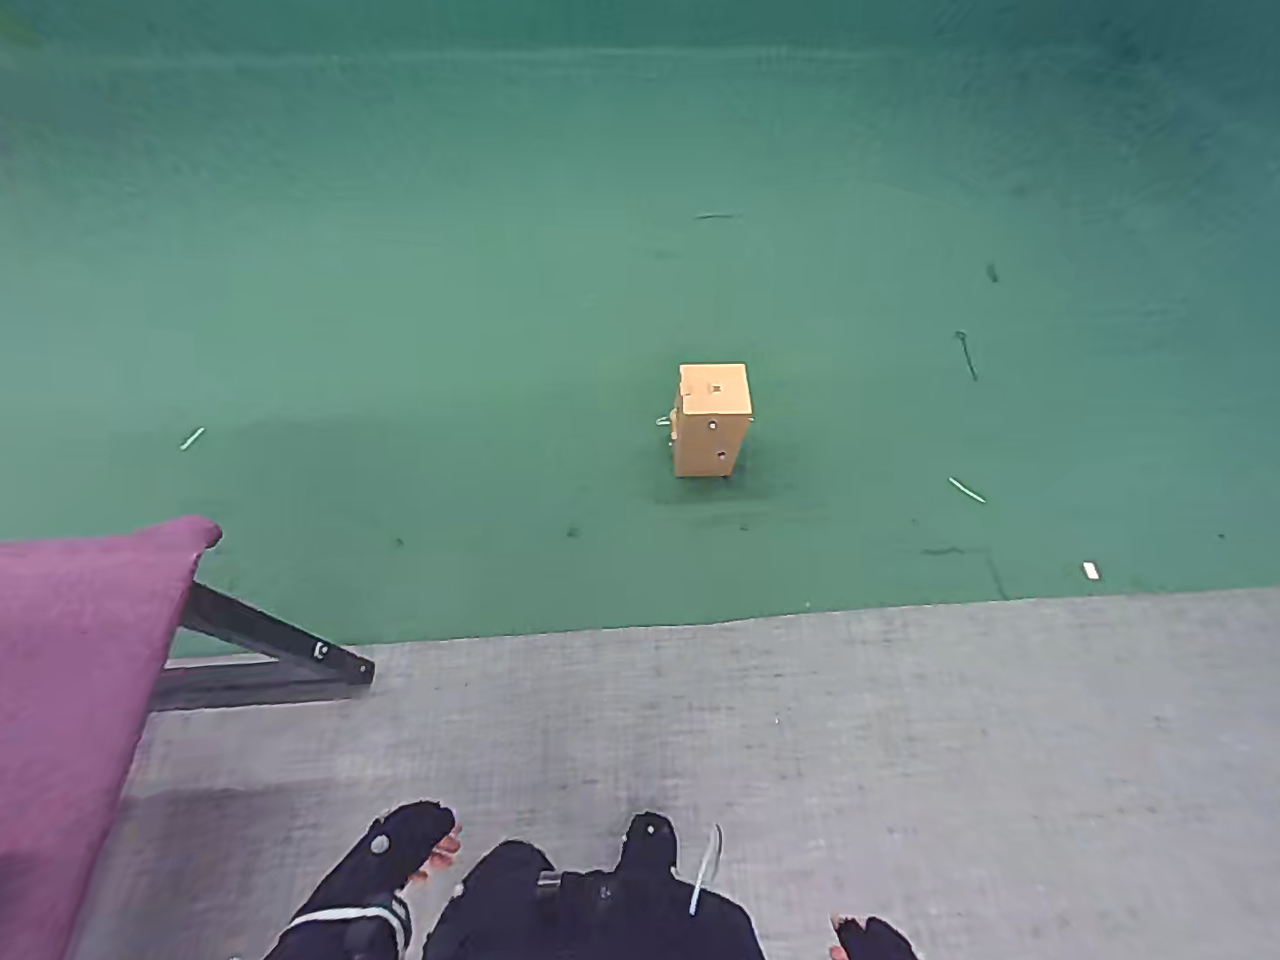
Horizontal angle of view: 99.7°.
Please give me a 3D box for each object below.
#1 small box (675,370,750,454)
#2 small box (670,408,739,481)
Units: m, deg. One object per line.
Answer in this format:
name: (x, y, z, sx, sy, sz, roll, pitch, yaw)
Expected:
small box: (0.191, -0.181, 1.474, 0.179, 0.176, 0.168, -1, 60, -1)
small box: (0.187, -0.106, 1.619, 0.179, 0.176, 0.168, -1, 60, -2)
